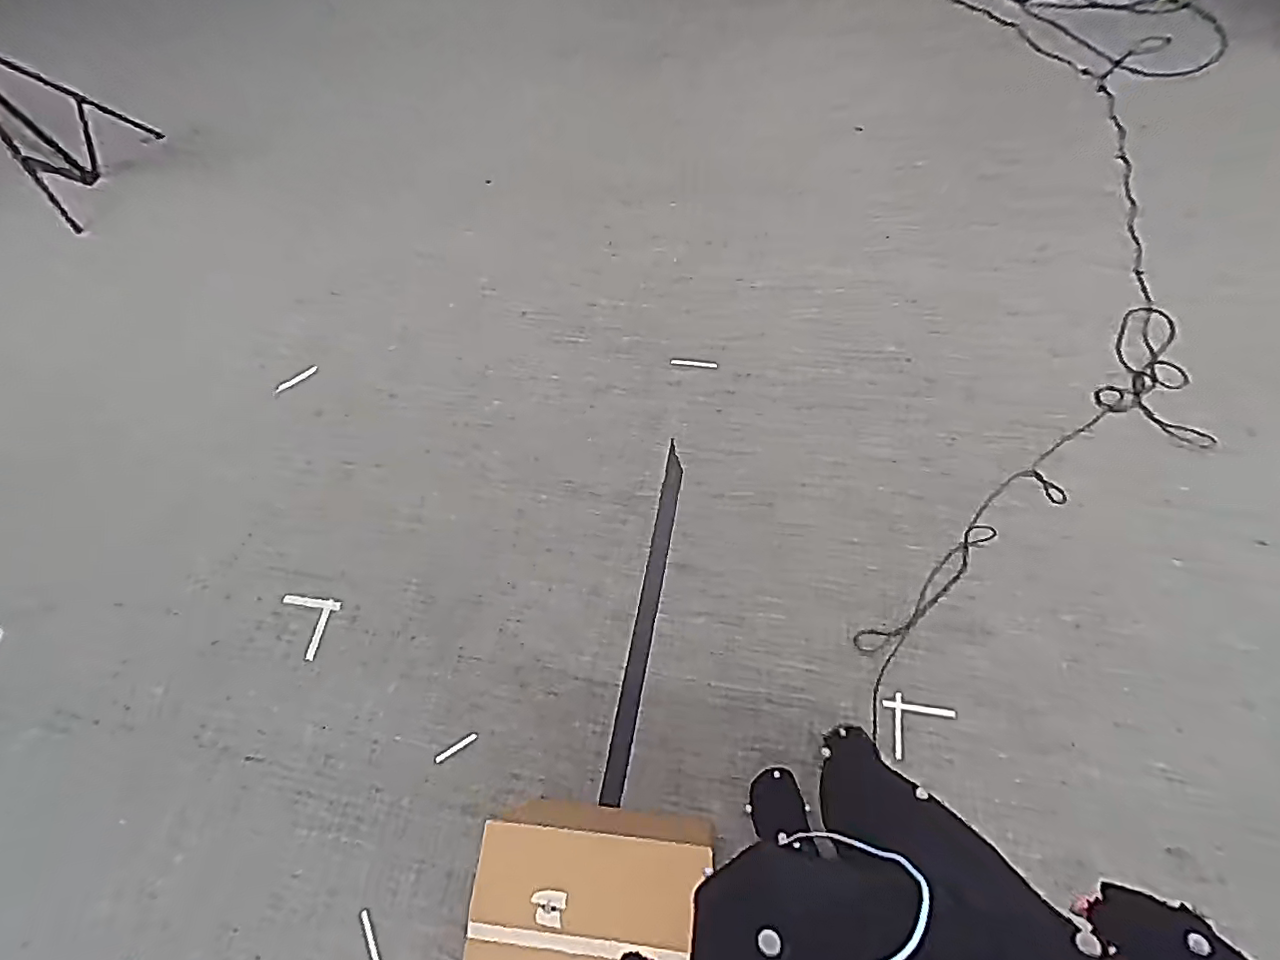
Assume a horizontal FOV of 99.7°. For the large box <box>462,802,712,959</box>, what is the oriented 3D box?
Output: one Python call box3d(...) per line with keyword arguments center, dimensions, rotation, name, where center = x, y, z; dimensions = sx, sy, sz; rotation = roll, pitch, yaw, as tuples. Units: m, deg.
box3d(center=(-0.072, 0.812, 1.008), dimensions=(0.408, 0.320, 0.320), rotation=(1, 65, 9), name="large box")
